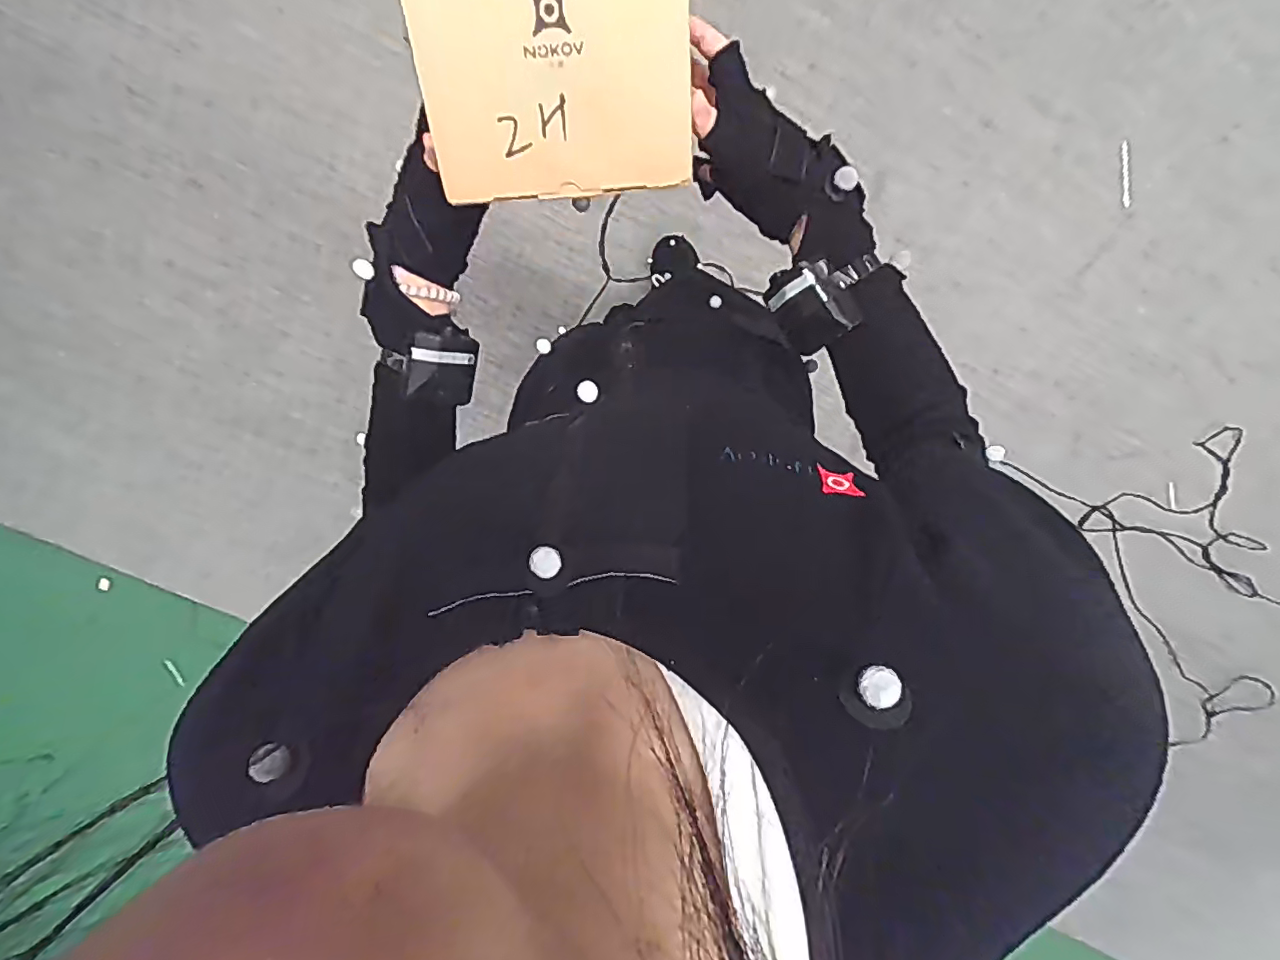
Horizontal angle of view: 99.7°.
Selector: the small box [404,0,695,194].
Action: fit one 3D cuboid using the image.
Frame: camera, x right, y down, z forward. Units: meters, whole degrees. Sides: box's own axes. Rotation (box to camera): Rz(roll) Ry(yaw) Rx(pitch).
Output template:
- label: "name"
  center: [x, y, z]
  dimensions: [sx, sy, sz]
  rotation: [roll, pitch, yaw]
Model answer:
- label: "small box"
  center: [-0.054, -0.304, 0.376]
  dimensions: [0.168, 0.176, 0.179]
  rotation: [-4, 121, 0]
